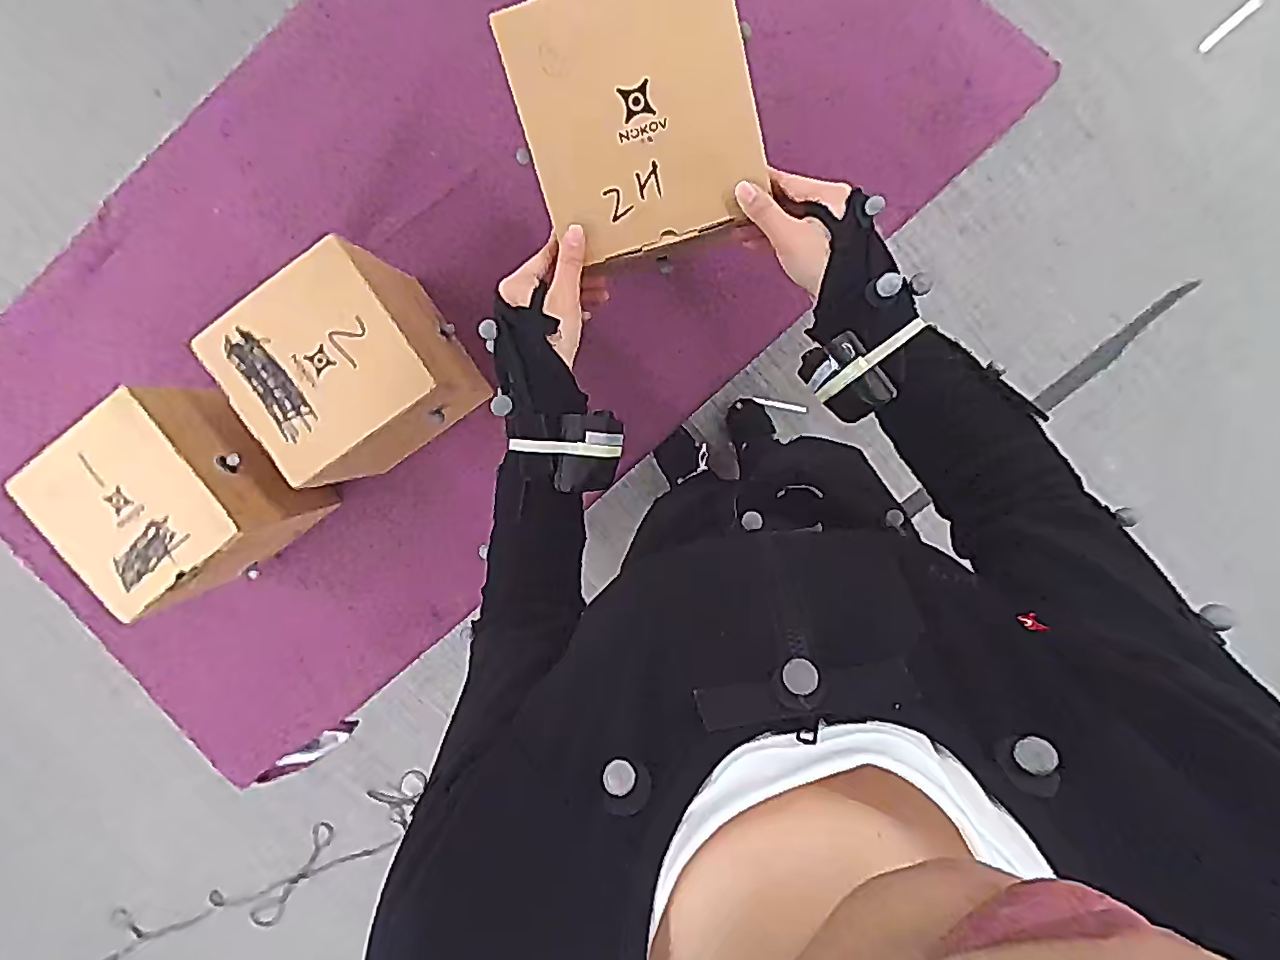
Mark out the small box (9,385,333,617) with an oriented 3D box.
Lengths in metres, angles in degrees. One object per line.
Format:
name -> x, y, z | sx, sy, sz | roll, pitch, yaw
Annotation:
small box -> -0.491, 0.013, 0.599 | 0.168, 0.176, 0.179 | -36, 94, 6

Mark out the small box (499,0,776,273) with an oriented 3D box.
small box -> 0.002, -0.290, 0.459 | 0.168, 0.176, 0.179 | -14, 106, 5
